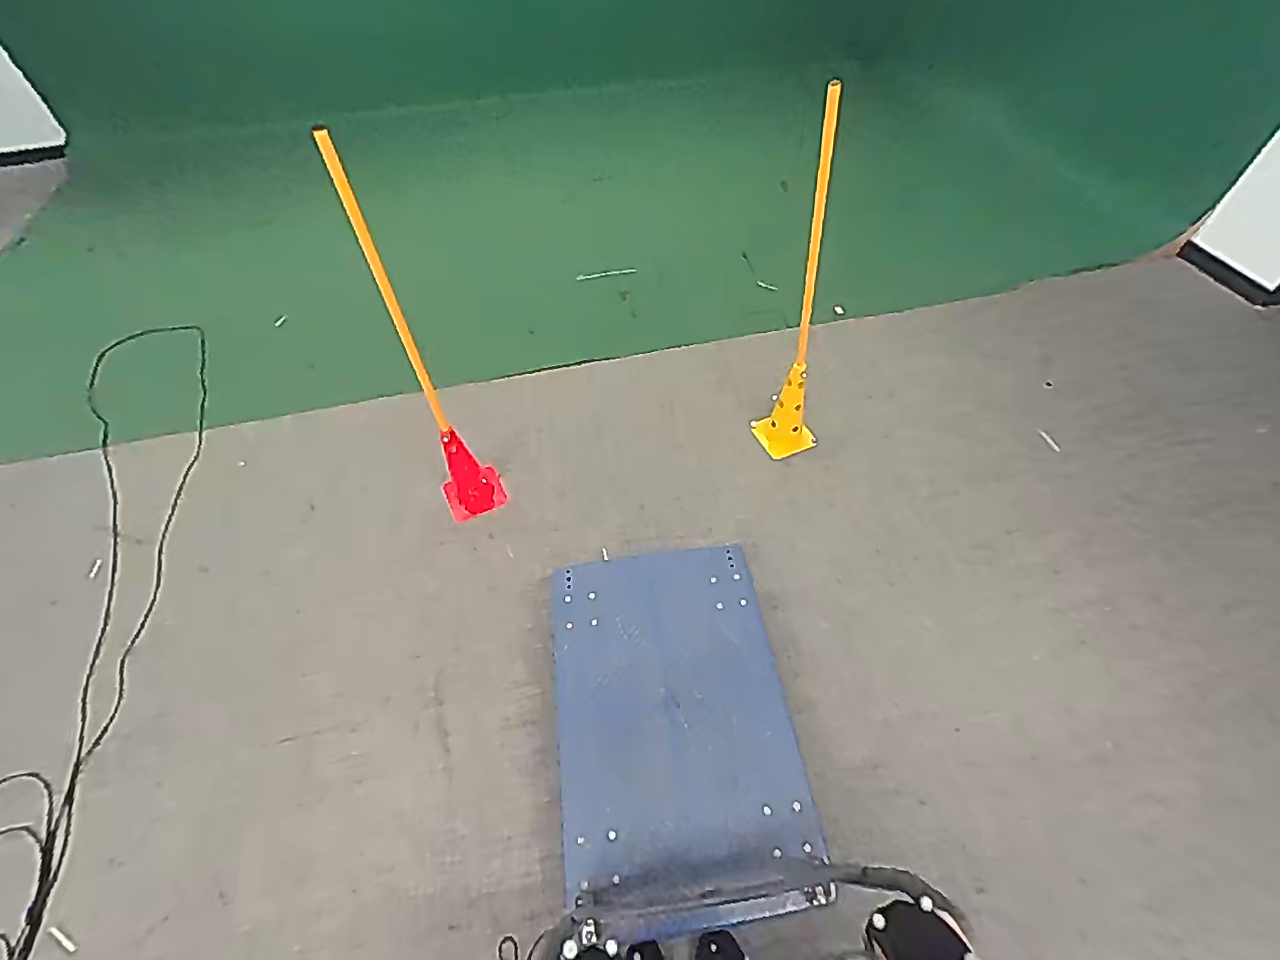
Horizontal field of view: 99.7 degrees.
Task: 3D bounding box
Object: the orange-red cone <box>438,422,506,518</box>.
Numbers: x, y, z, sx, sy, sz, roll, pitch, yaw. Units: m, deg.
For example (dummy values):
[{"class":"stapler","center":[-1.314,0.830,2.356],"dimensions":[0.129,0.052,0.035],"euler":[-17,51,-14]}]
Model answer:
[{"class":"orange-red cone","center":[-0.610,-0.063,1.834],"dimensions":[0.199,0.360,0.198],"euler":[-24,56,-13]}]
